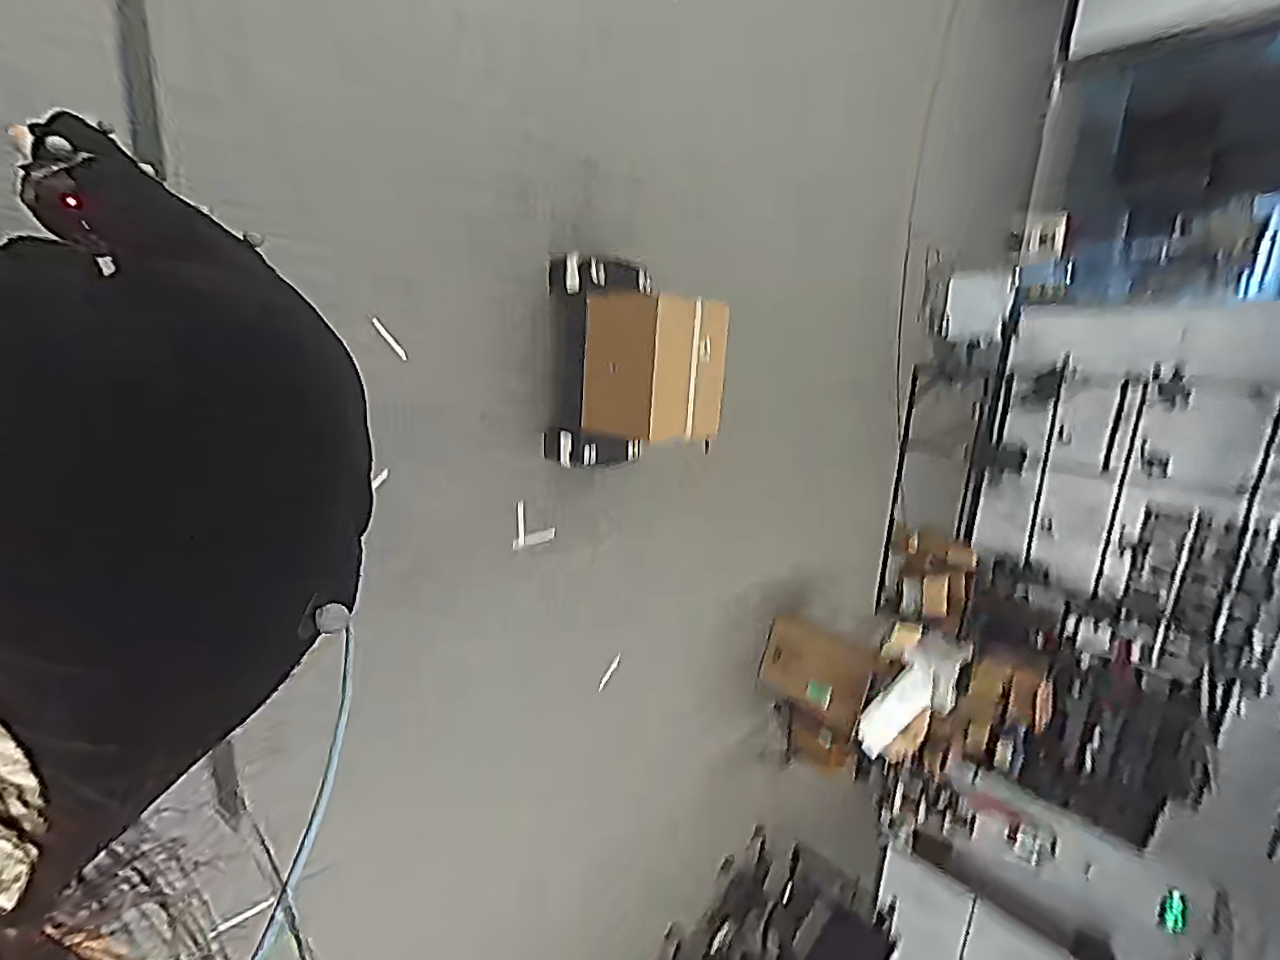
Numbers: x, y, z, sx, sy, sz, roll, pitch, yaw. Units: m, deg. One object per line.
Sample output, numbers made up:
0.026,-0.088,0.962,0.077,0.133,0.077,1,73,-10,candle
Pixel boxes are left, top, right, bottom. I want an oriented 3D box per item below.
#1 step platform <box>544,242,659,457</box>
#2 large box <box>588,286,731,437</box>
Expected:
-0.124,-0.416,1.802,0.286,0.204,0.684,-2,102,-45,step platform
0.052,-0.355,1.652,0.320,0.320,0.408,-10,107,-44,large box
